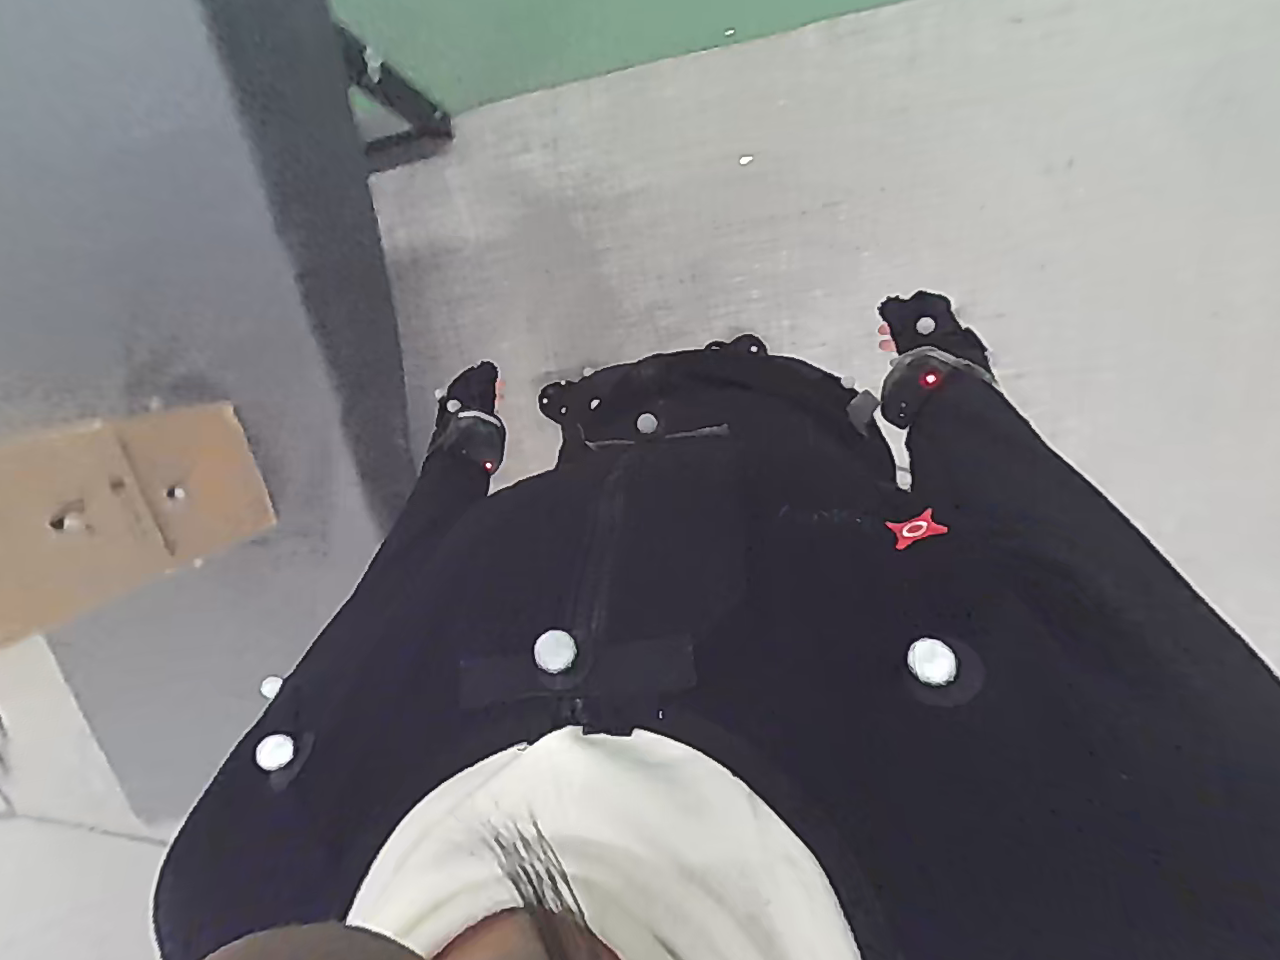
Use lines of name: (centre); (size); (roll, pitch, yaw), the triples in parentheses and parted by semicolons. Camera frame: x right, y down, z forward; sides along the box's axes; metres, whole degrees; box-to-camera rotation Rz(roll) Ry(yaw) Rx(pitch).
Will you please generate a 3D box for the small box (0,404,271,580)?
small box: (-0.605, 0.015, 0.664); (0.168, 0.176, 0.179); (-10, 104, 8)
